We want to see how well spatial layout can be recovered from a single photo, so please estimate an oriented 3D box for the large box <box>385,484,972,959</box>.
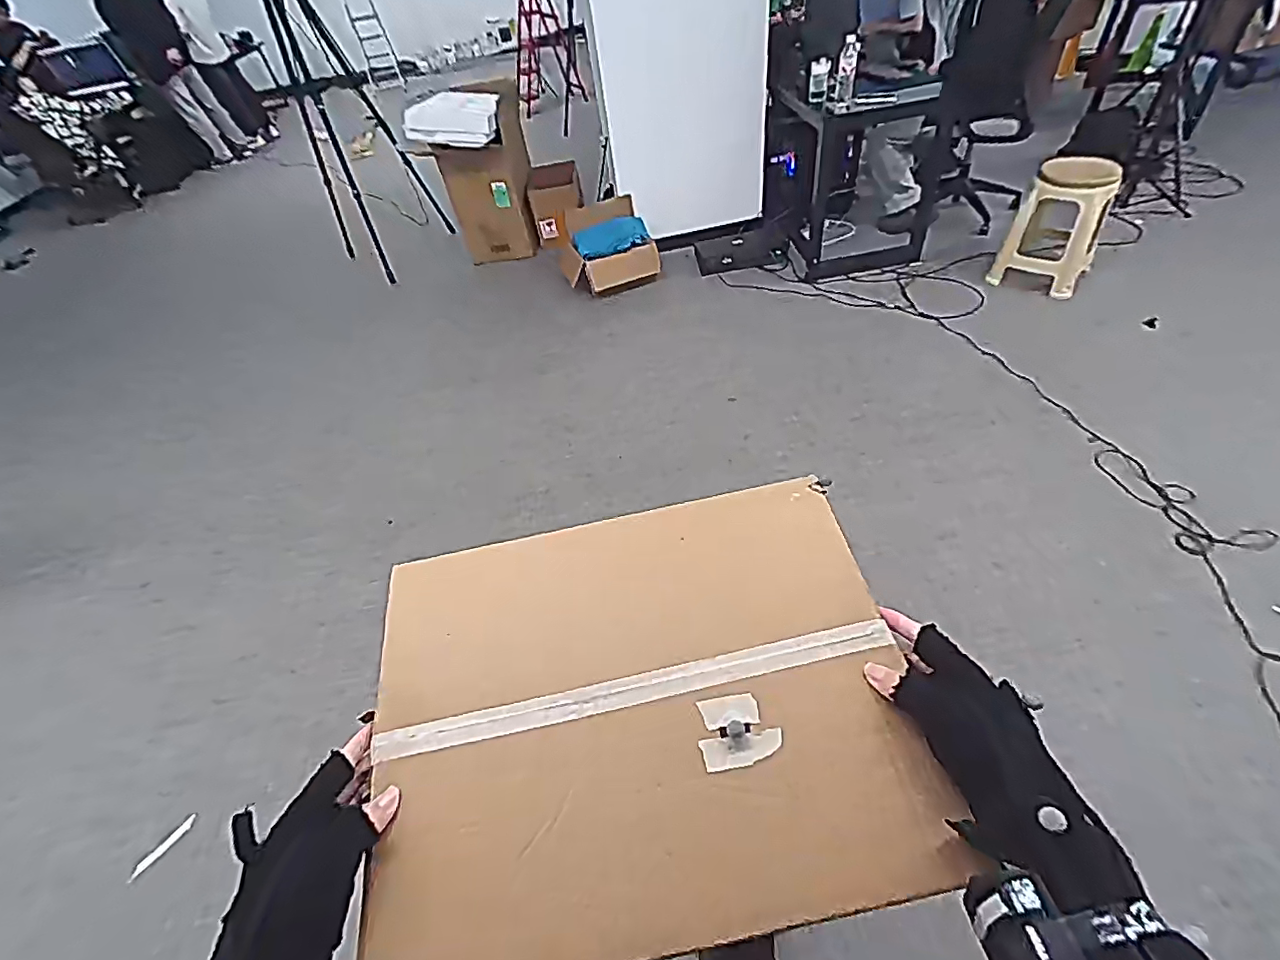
[{"bbox_3d":[0.014,0.252,0.556,0.408,0.320,0.320,-12,55,-1],"label":"large box"}]
